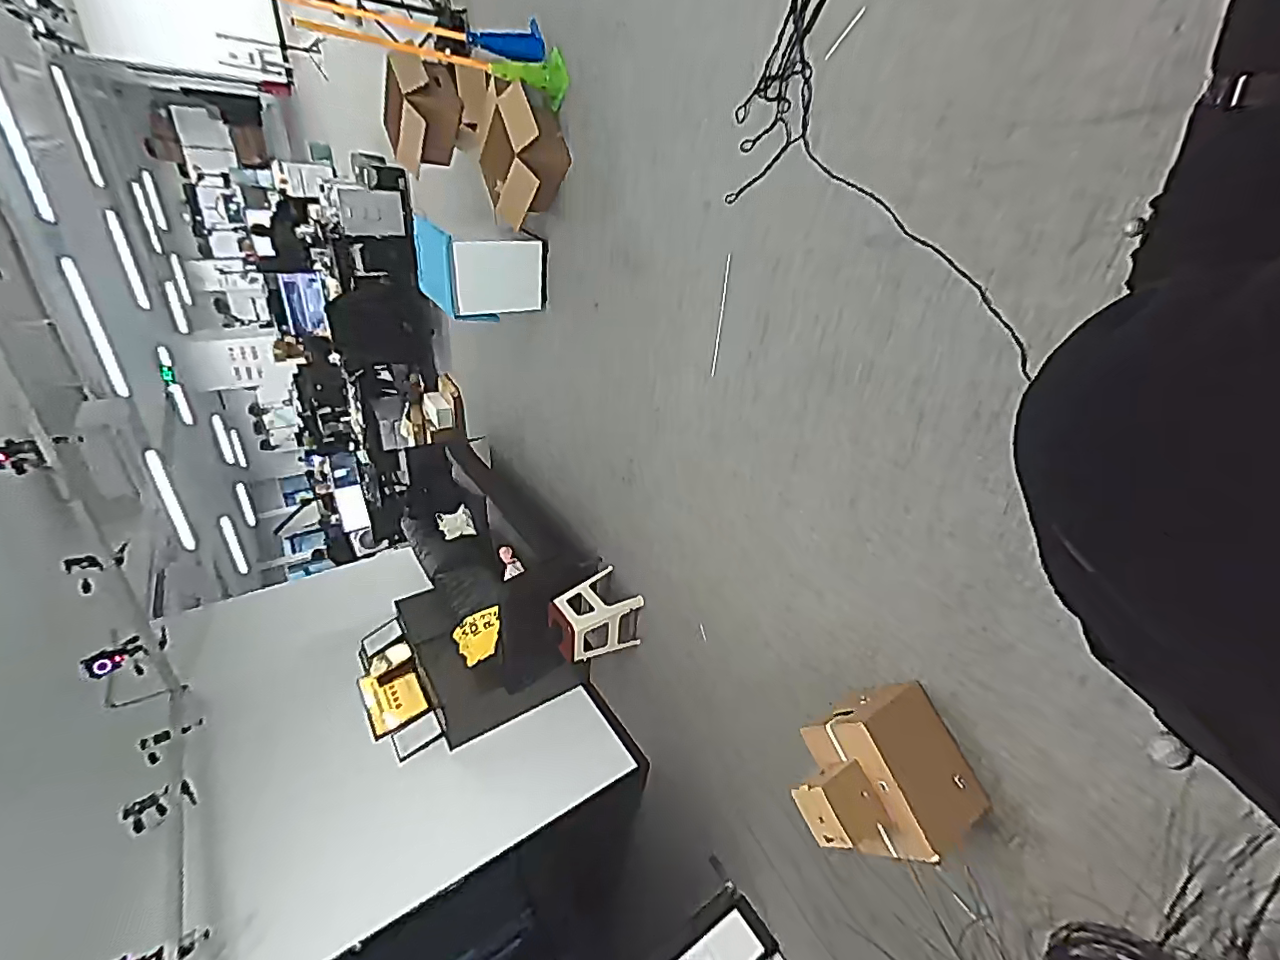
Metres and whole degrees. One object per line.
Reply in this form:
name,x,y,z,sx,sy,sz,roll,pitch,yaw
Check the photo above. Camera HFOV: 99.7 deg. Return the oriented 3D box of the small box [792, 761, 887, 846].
small box,0.616,0.990,1.671,0.179,0.176,0.168,62,148,20
